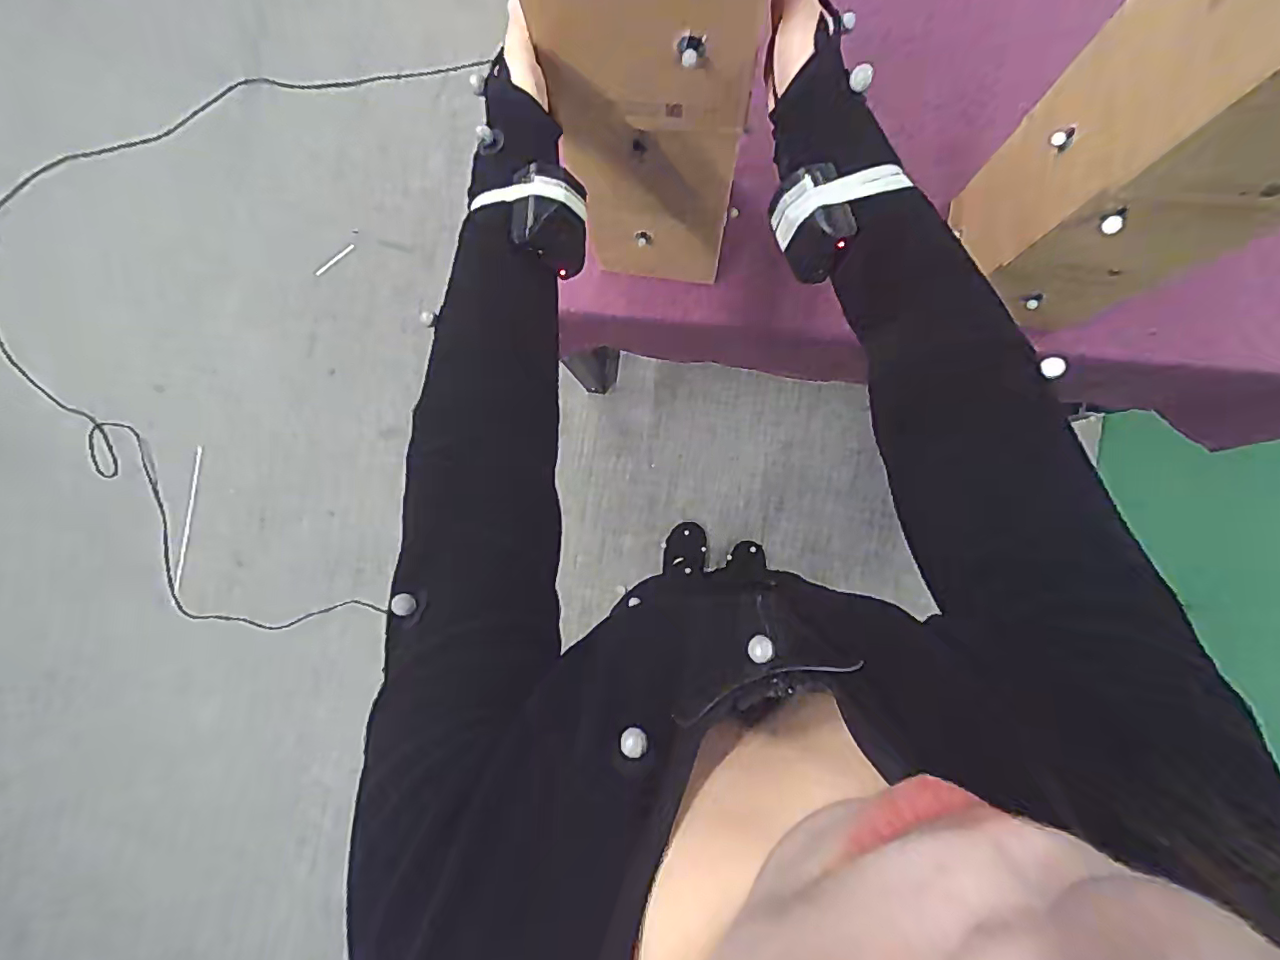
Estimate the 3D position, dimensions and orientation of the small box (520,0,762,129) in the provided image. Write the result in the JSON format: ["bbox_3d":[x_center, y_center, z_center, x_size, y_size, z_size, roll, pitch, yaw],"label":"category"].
[{"bbox_3d":[0.011,-0.395,0.395,0.168,0.176,0.179,7,88,5],"label":"small box"}]

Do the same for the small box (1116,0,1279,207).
[{"bbox_3d":[0.462,-0.311,0.352,0.168,0.176,0.179,6,87,6],"label":"small box"}]

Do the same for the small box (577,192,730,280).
[{"bbox_3d":[0.030,-0.385,0.720,0.179,0.176,0.168,10,89,5],"label":"small box"}]

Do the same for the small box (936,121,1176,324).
[{"bbox_3d":[0.508,-0.307,0.679,0.179,0.176,0.168,9,88,6],"label":"small box"}]

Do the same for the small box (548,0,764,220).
[{"bbox_3d":[0.022,-0.392,0.558,0.179,0.176,0.168,9,89,6],"label":"small box"}]
